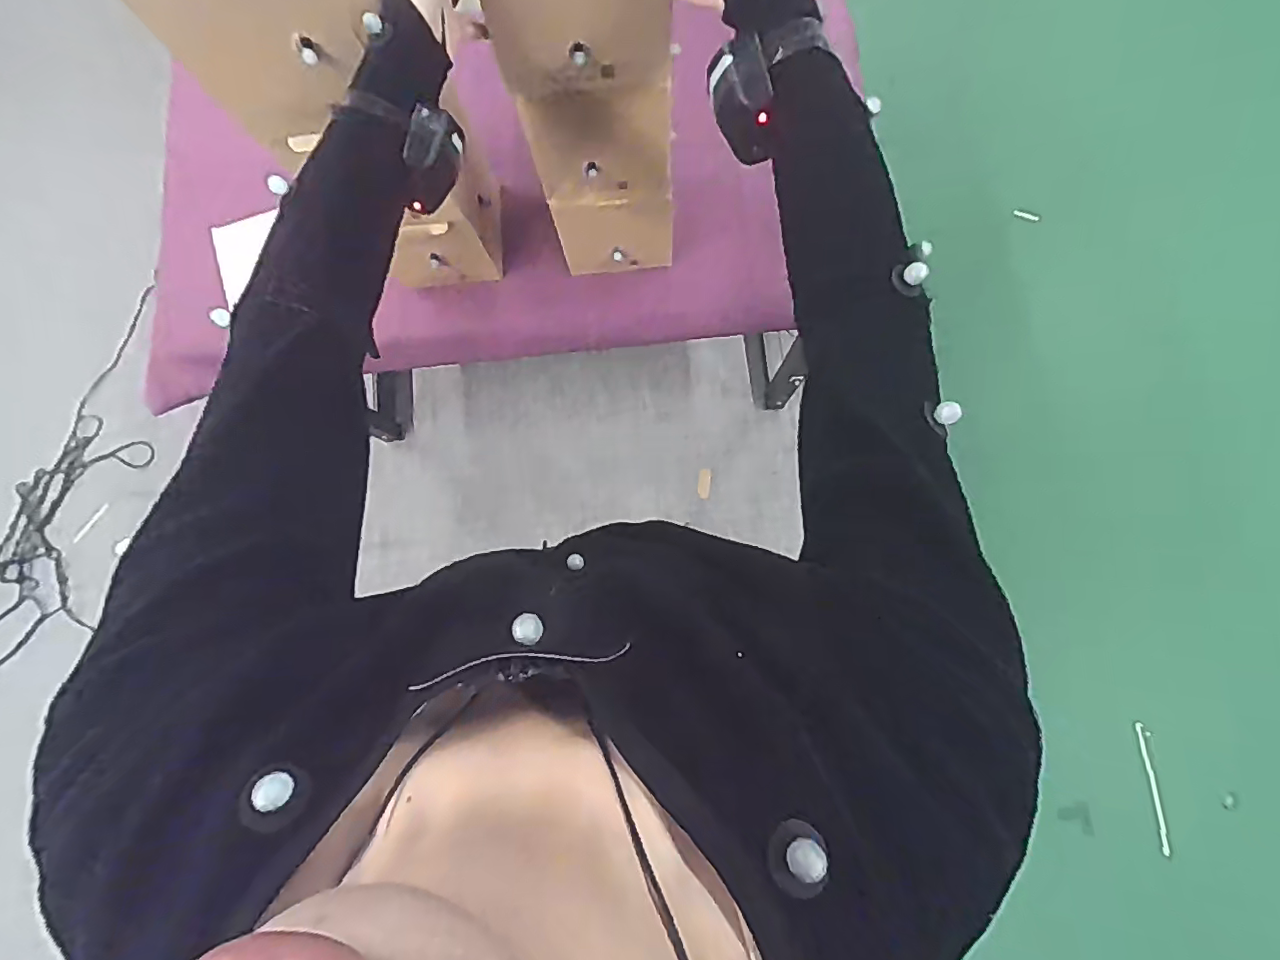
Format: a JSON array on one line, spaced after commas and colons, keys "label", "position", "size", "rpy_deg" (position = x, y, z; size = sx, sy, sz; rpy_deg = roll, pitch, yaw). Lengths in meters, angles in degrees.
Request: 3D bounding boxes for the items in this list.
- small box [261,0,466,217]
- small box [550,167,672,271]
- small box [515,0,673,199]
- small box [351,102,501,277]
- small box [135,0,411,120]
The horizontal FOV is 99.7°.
[{"label": "small box", "position": [-0.321, -0.446, 0.660], "size": [0.168, 0.176, 0.179], "rpy_deg": [-4, 80, 2]}, {"label": "small box", "position": [-0.041, -0.444, 0.813], "size": [0.168, 0.176, 0.179], "rpy_deg": [-5, 80, 3]}, {"label": "small box", "position": [-0.050, -0.477, 0.654], "size": [0.168, 0.176, 0.179], "rpy_deg": [-4, 80, 2]}, {"label": "small box", "position": [-0.315, -0.426, 0.823], "size": [0.168, 0.176, 0.179], "rpy_deg": [-4, 82, 1]}, {"label": "small box", "position": [-0.327, -0.466, 0.498], "size": [0.168, 0.176, 0.179], "rpy_deg": [-3, 81, 1]}]
